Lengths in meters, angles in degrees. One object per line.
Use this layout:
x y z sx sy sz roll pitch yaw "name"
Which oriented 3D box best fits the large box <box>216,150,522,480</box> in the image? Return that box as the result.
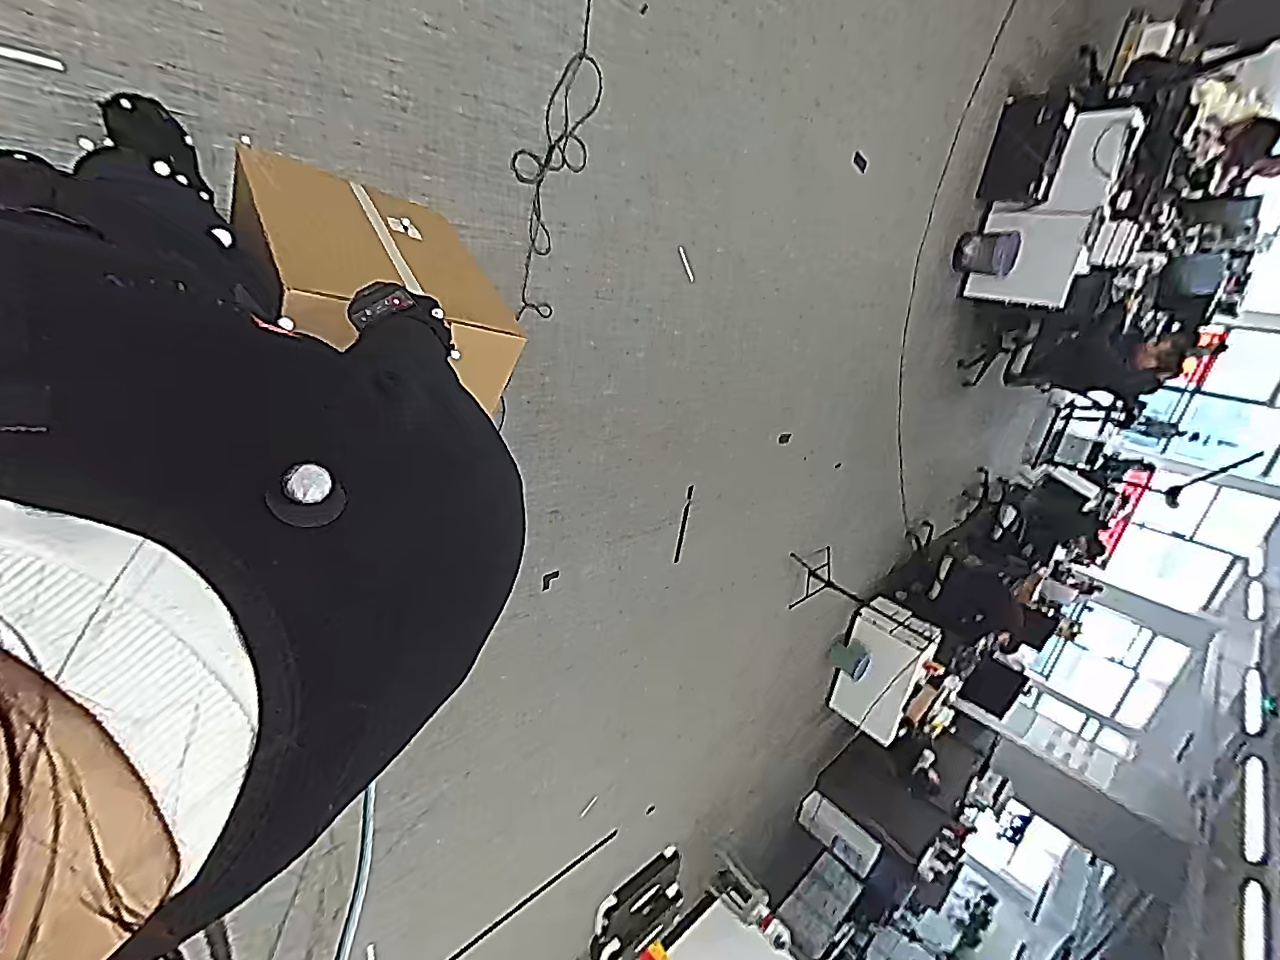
-0.458 -0.245 0.878 0.320 0.408 0.320 0 134 -47 "large box"
